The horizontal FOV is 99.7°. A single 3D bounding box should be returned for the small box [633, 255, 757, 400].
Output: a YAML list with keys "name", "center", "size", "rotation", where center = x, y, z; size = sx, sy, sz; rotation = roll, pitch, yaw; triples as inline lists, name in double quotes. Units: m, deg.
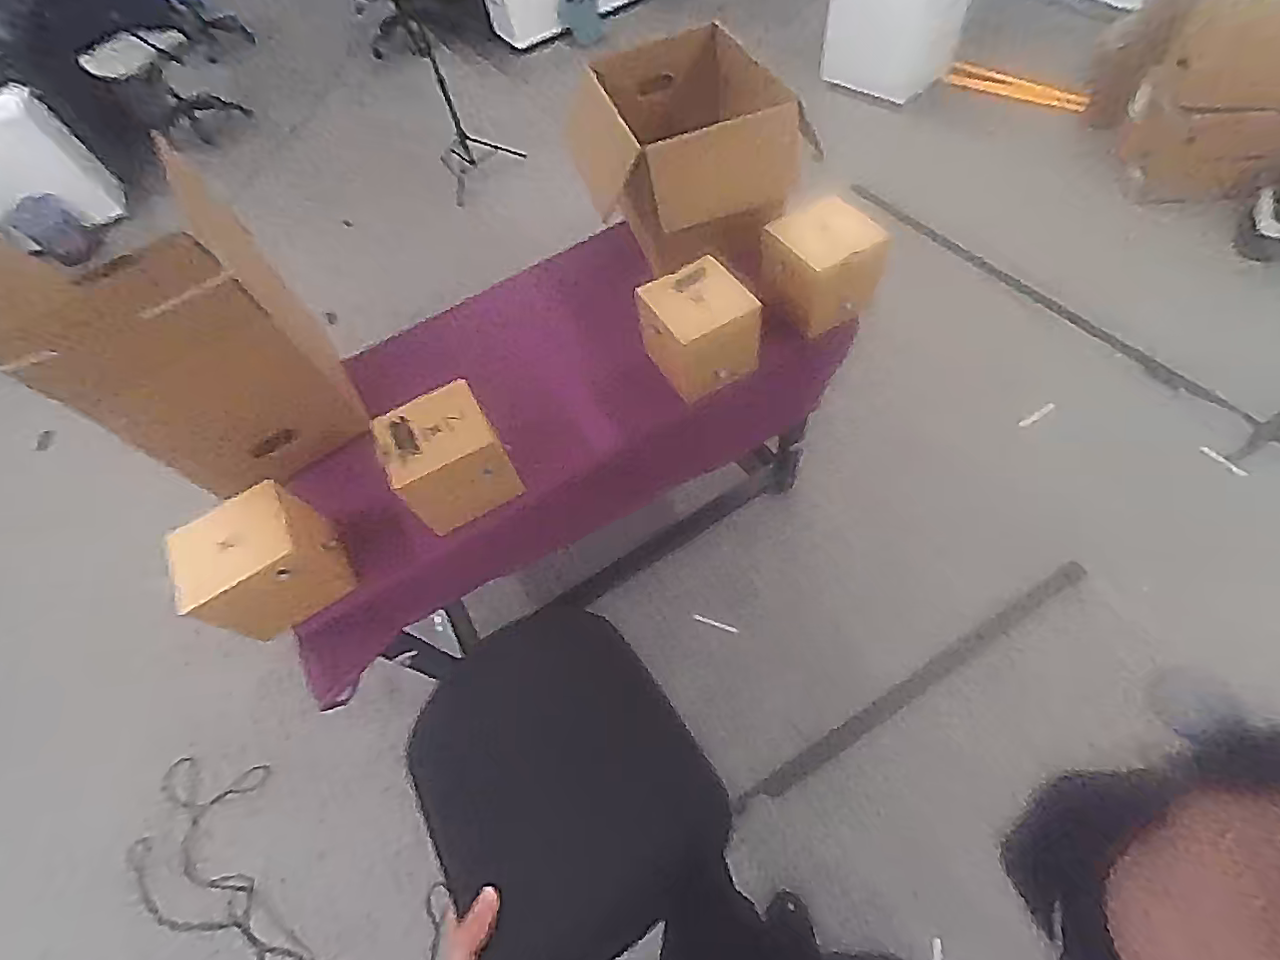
- name: "small box"
  center: [0.105, -0.290, 1.044]
  size: [0.168, 0.176, 0.179]
  rotation: [-29, 60, -8]

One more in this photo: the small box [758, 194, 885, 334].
- name: "small box"
  center: [0.350, -0.429, 1.085]
  size: [0.168, 0.176, 0.179]
  rotation: [-29, 59, -7]

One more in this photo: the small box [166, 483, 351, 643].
- name: "small box"
  center: [-0.630, 0.145, 0.905]
  size: [0.179, 0.176, 0.168]
  rotation: [-34, 60, -12]
